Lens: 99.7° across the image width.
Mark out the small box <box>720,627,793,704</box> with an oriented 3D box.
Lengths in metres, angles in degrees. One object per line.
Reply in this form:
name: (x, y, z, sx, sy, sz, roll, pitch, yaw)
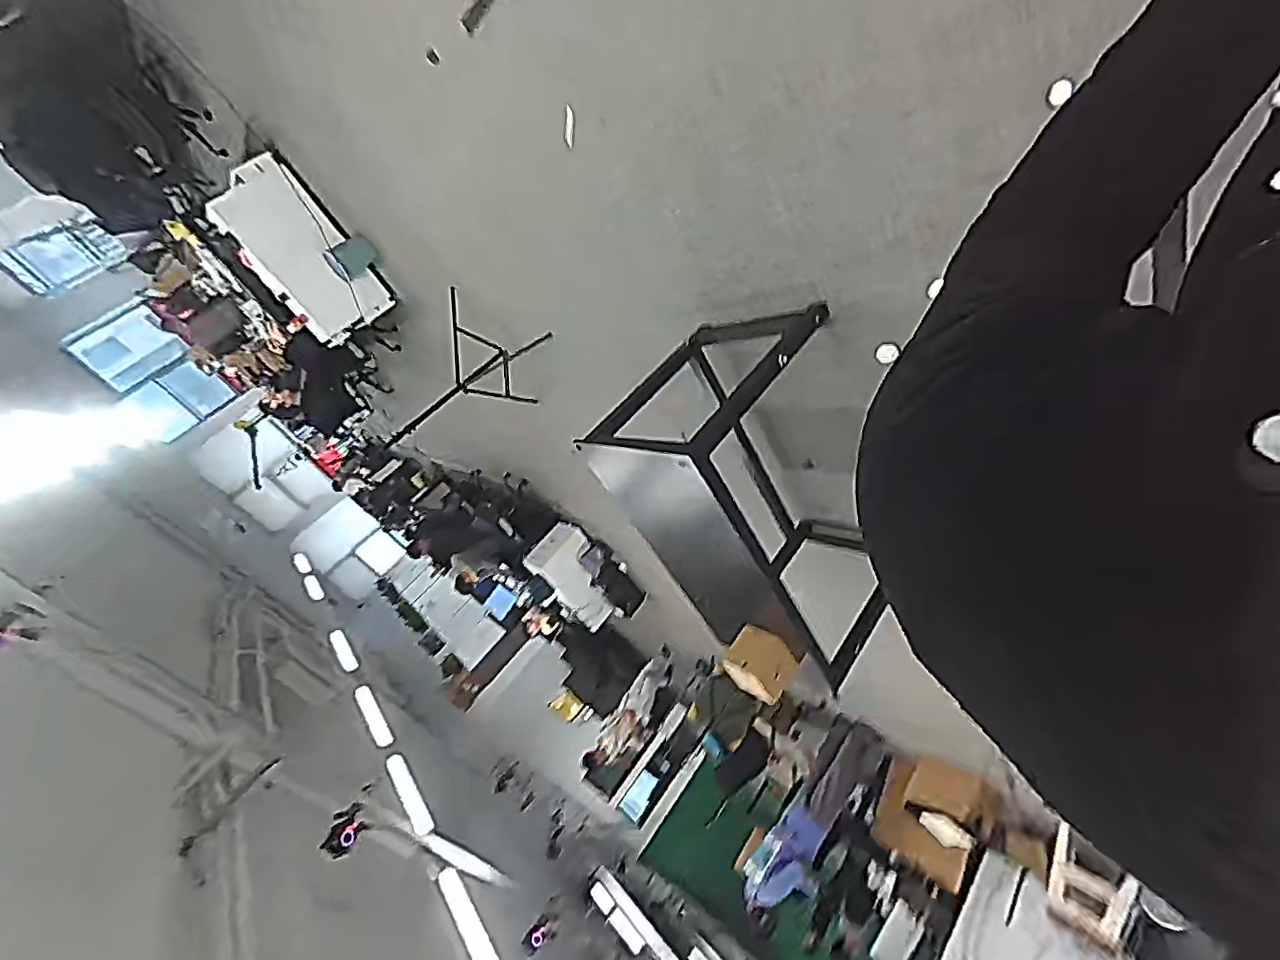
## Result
small box: (0.431, 0.671, 1.976, 0.168, 0.176, 0.179, 9, 140, 54)
